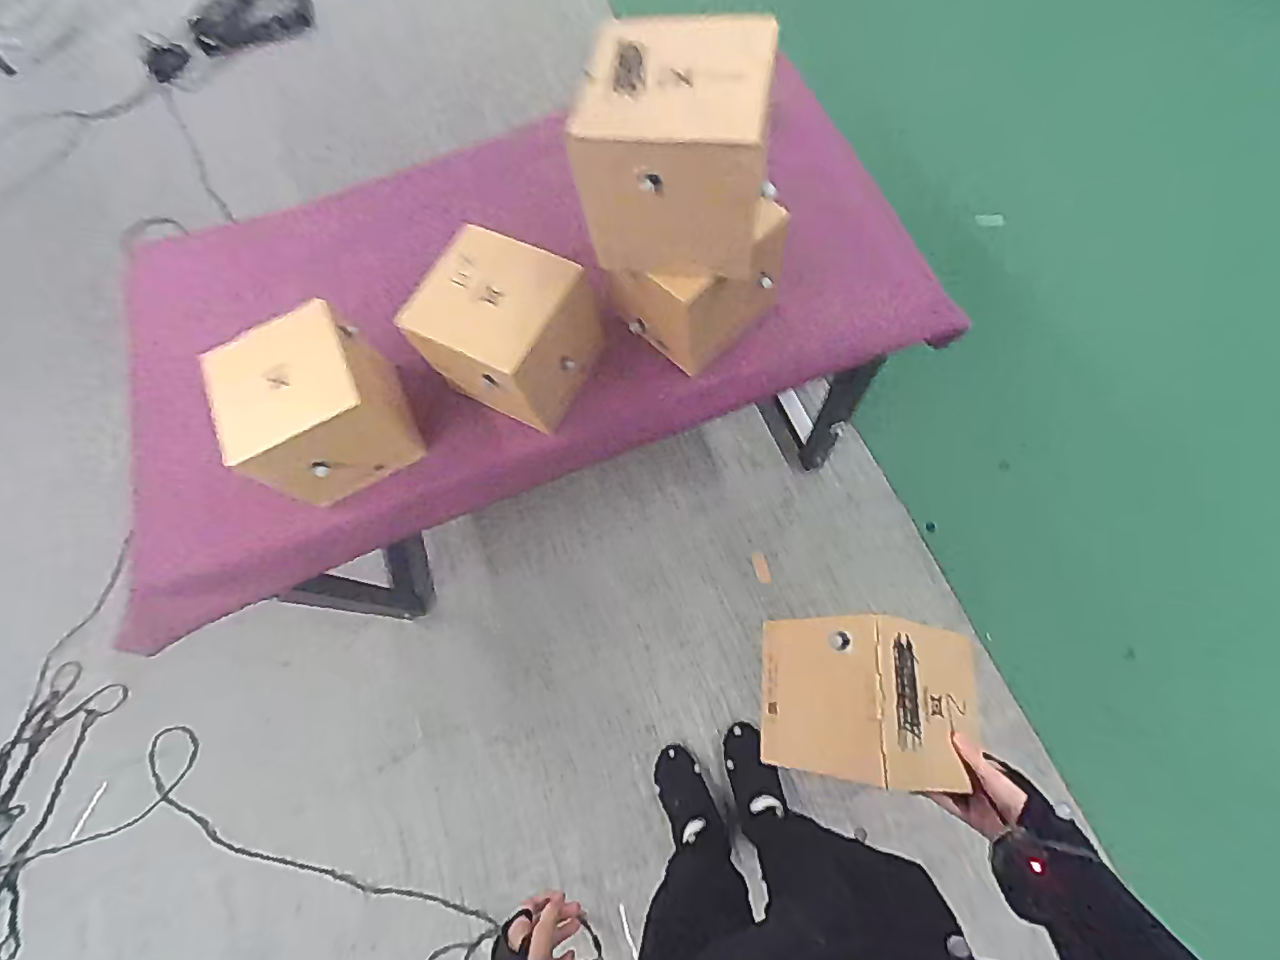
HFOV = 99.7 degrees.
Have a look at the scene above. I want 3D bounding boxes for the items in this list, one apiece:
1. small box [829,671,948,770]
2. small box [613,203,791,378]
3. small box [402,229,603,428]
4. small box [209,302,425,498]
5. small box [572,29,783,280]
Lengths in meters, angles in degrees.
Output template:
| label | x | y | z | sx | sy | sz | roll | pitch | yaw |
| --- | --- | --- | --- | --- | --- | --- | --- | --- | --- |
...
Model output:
| label | x | y | z | sx | sy | sz | roll | pitch | yaw |
| --- | --- | --- | --- | --- | --- | --- | --- | --- | --- |
| small box | 0.524 | 0.517 | 1.177 | 0.179 | 0.176 | 0.168 | -12 | 70 | 3 |
| small box | 0.074 | -0.277 | 0.731 | 0.179 | 0.176 | 0.168 | -42 | 69 | -8 |
| small box | -0.168 | -0.192 | 0.727 | 0.179 | 0.176 | 0.168 | 26 | 75 | 15 |
| small box | -0.417 | -0.093 | 0.722 | 0.168 | 0.176 | 0.179 | -28 | 68 | -4 |
| small box | 0.047 | -0.339 | 0.582 | 0.179 | 0.176 | 0.168 | 9 | 70 | 11 |
